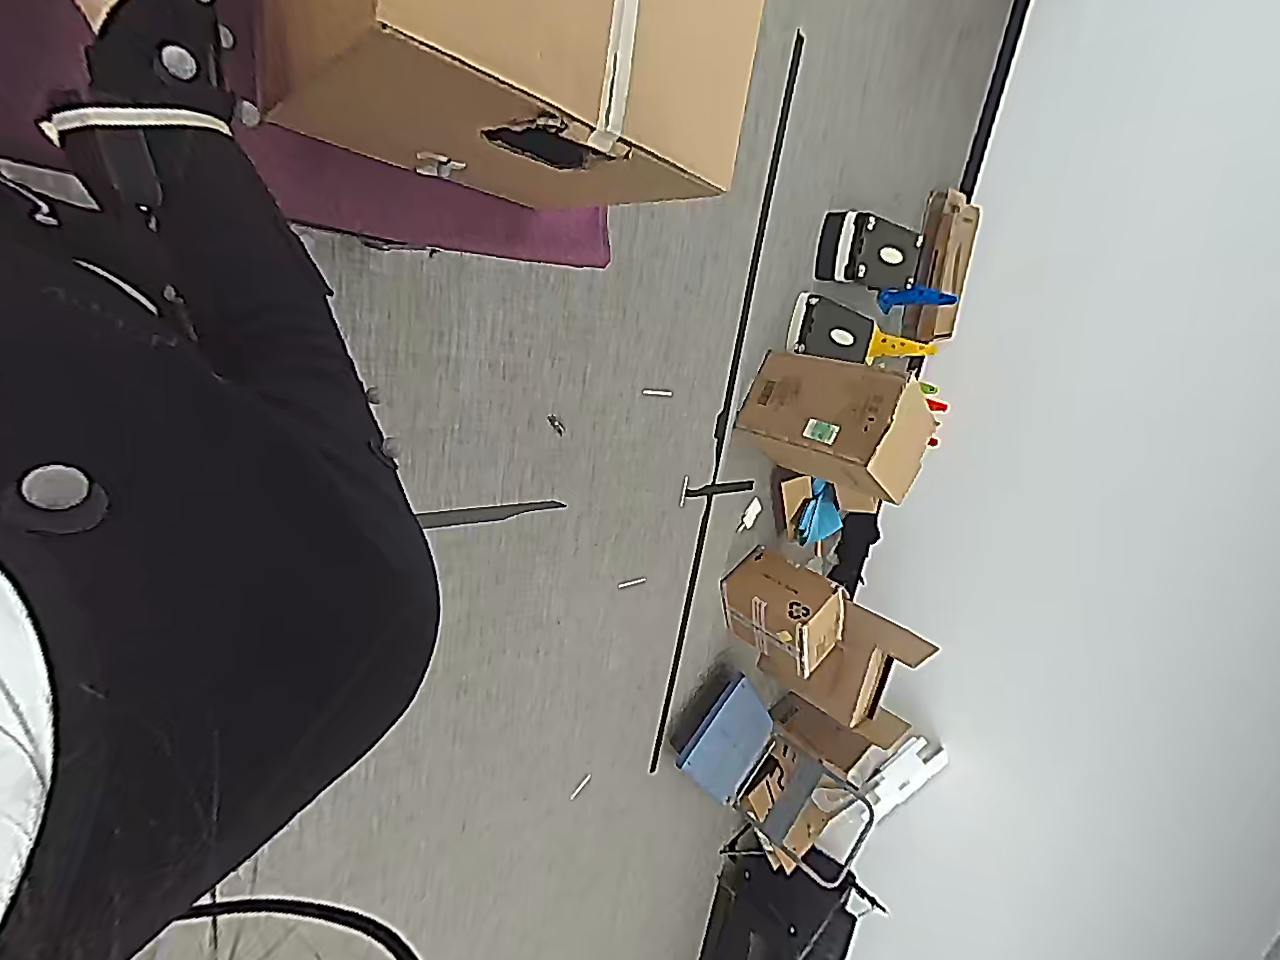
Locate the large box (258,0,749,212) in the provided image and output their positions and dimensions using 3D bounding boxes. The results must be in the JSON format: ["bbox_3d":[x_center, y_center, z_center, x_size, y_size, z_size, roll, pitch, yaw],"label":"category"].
[{"bbox_3d":[-0.111,-0.481,0.449,0.320,0.320,0.408,-6,110,-45],"label":"large box"}]
